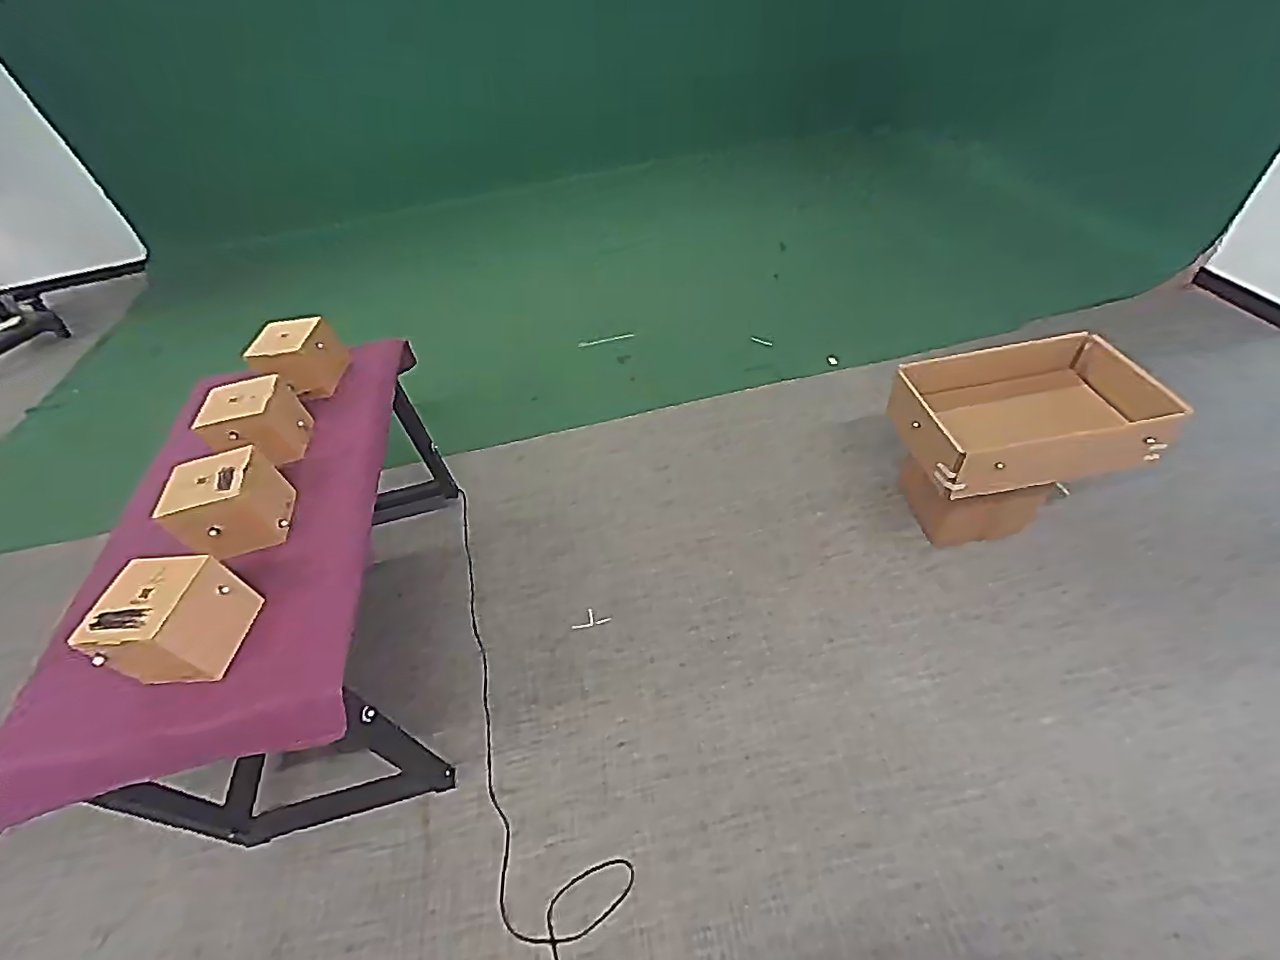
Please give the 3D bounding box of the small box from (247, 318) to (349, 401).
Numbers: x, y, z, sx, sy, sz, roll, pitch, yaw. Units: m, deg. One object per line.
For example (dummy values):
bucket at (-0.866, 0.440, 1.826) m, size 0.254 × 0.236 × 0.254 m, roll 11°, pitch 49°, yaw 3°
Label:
small box at (-1.000, -0.353, 1.603) m, size 0.168 × 0.176 × 0.179 m, roll -6°, pitch 49°, yaw 4°

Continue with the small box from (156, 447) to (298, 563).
small box at (-0.913, 0.059, 1.219) m, size 0.179 × 0.176 × 0.168 m, roll -17°, pitch 48°, yaw -4°

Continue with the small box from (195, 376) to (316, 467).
small box at (-0.991, -0.141, 1.411) m, size 0.179 × 0.176 × 0.168 m, roll -14°, pitch 48°, yaw -3°
